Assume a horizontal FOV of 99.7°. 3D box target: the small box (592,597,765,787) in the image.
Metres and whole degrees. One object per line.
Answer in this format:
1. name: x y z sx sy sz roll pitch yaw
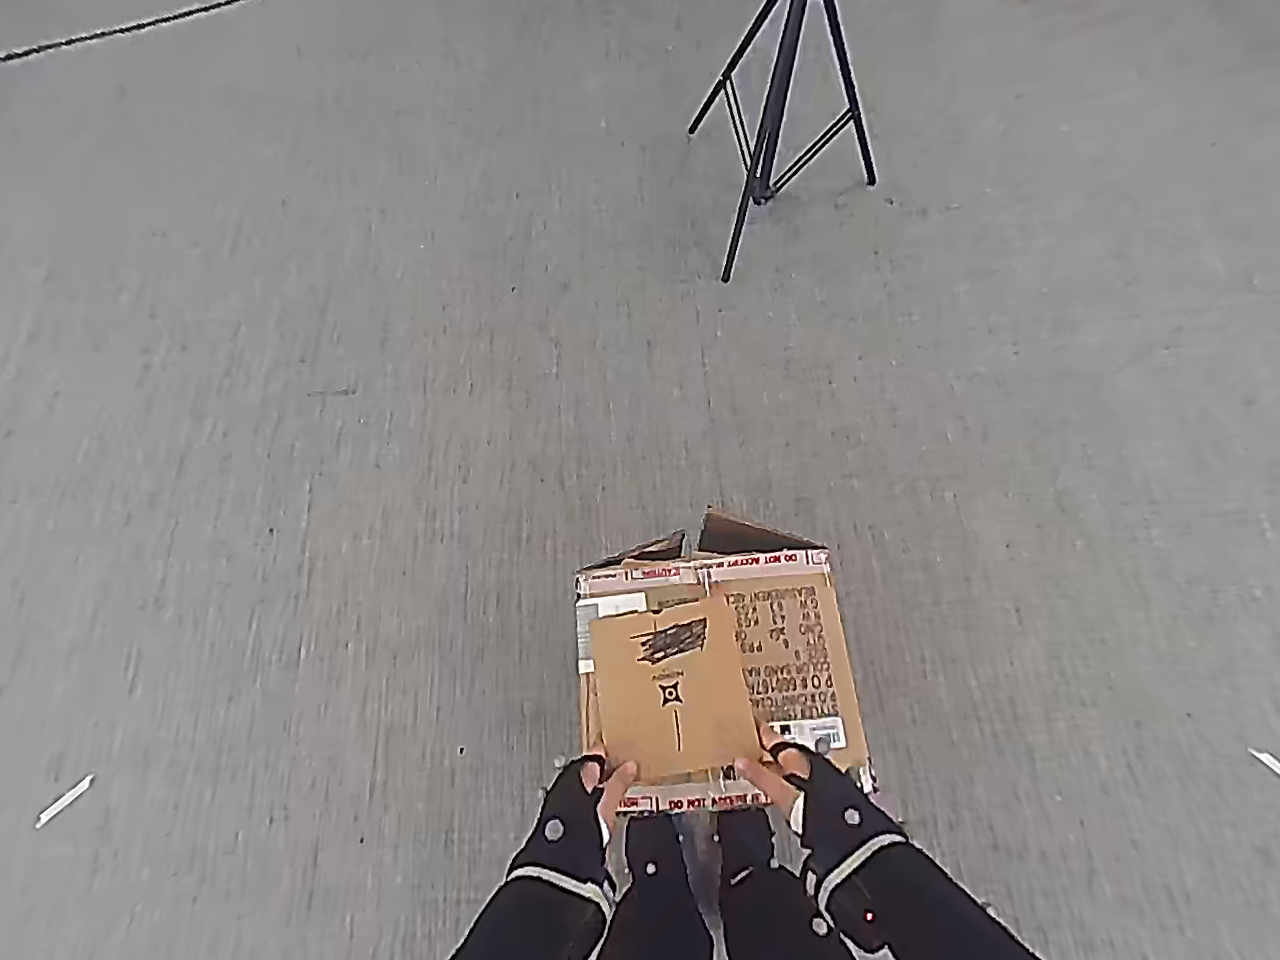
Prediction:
1. small box: 0.045 0.262 0.666 0.168 0.176 0.179 -12 65 2
